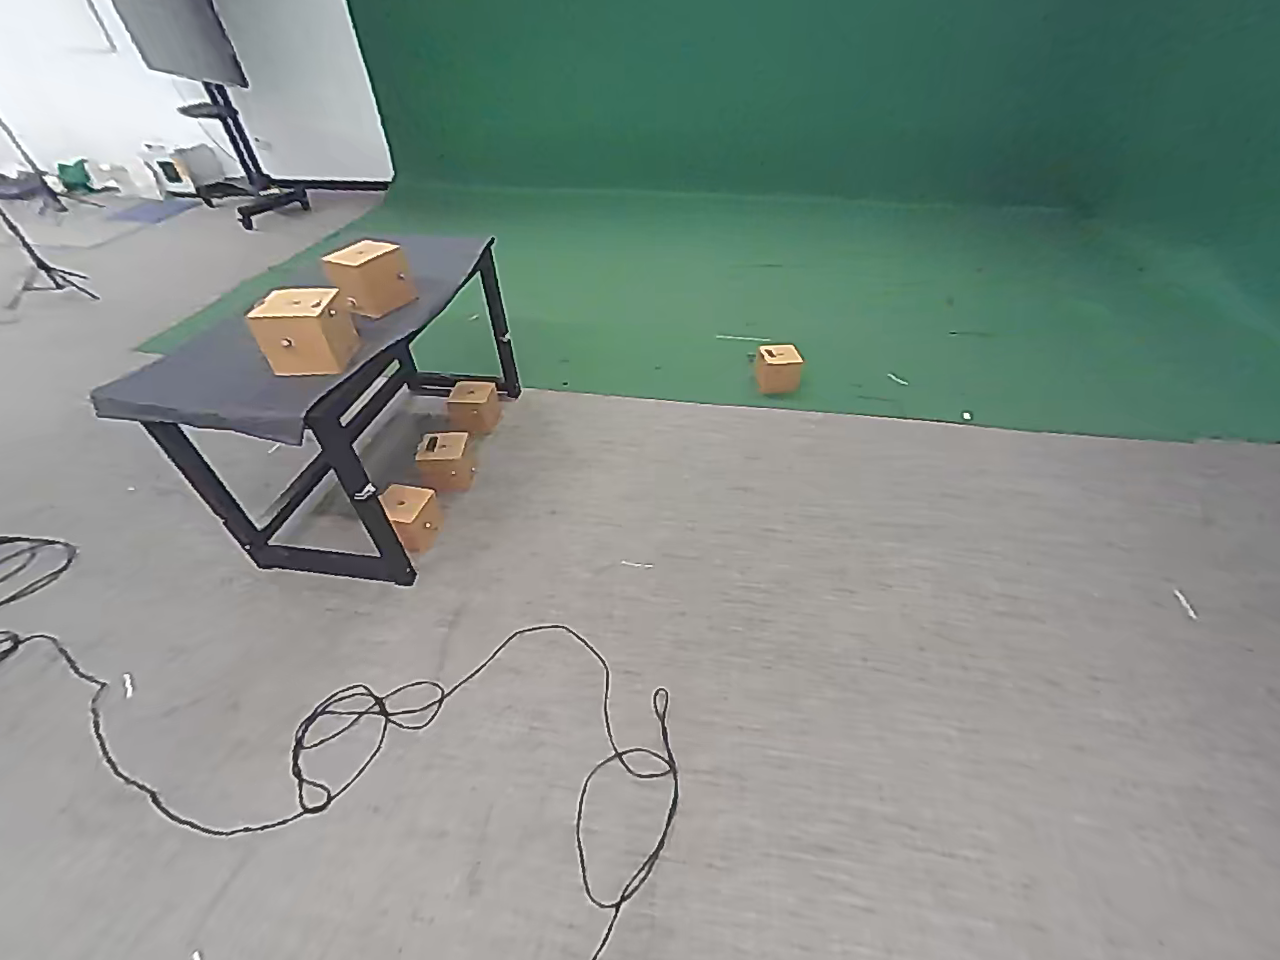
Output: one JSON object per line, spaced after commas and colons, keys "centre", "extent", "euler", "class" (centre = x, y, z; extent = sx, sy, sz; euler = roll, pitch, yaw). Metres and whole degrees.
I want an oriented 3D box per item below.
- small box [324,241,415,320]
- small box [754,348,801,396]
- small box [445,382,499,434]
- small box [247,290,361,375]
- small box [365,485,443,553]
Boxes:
{"centre": [-0.834, -0.626, 1.691], "extent": [0.168, 0.176, 0.179], "euler": [18, 48, 24], "class": "small box"}
{"centre": [0.660, -0.518, 2.616], "extent": [0.179, 0.176, 0.168], "euler": [-4, 43, -5], "class": "small box"}
{"centre": [-0.747, -0.323, 2.428], "extent": [0.179, 0.176, 0.168], "euler": [3, 43, 4], "class": "small box"}
{"centre": [-0.884, -0.390, 1.440], "extent": [0.179, 0.176, 0.168], "euler": [-3, 43, -2], "class": "small box"}
{"centre": [-0.838, 0.143, 1.940], "extent": [0.179, 0.176, 0.168], "euler": [9, 44, 10], "class": "small box"}
